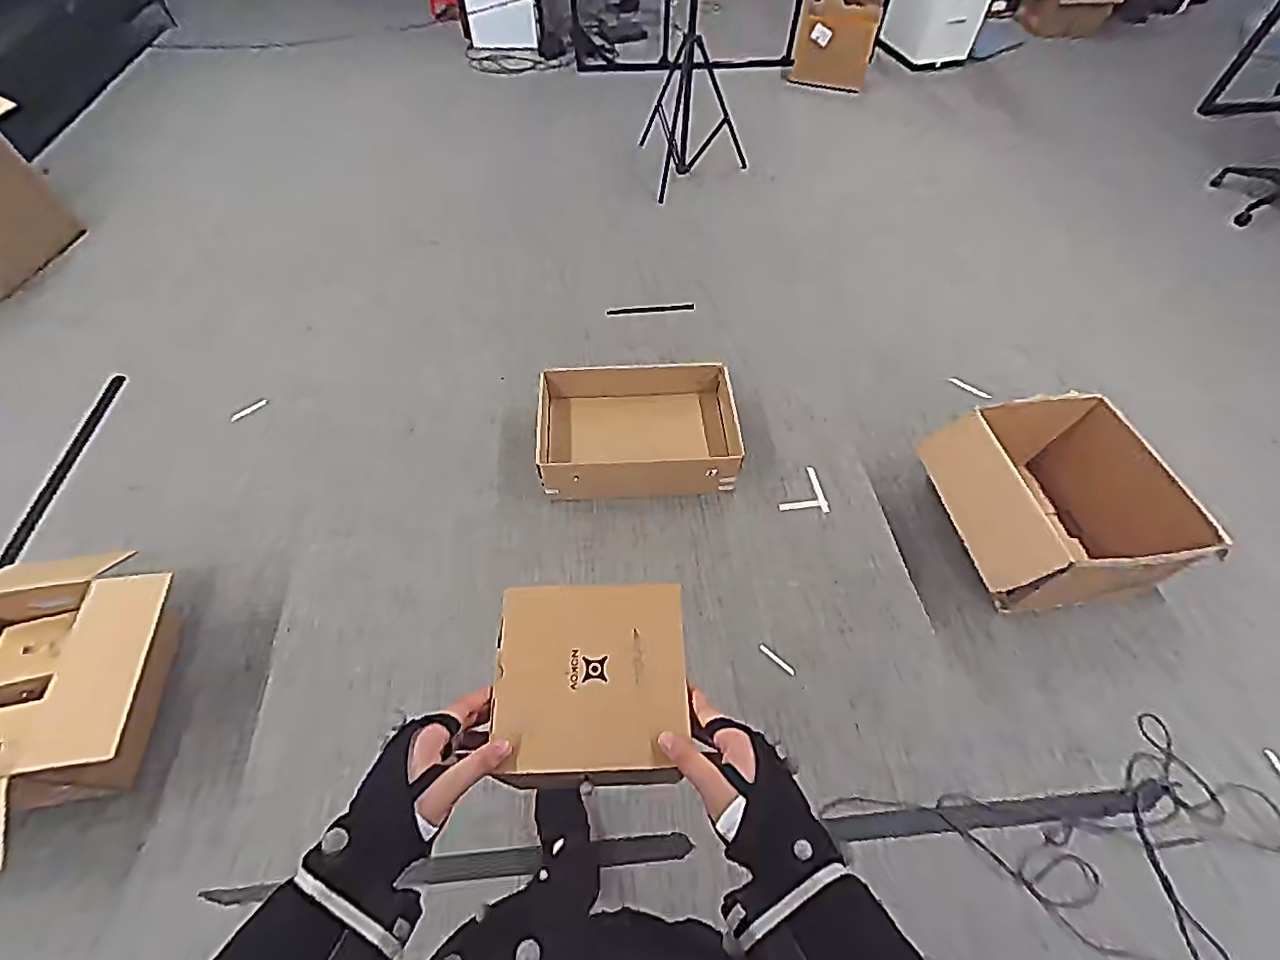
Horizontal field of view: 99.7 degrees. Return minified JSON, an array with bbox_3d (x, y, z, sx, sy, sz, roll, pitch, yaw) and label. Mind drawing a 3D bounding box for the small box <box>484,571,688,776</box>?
[{"bbox_3d":[-0.049,0.207,0.564,0.179,0.176,0.168,-2,57,-3],"label":"small box"}]
